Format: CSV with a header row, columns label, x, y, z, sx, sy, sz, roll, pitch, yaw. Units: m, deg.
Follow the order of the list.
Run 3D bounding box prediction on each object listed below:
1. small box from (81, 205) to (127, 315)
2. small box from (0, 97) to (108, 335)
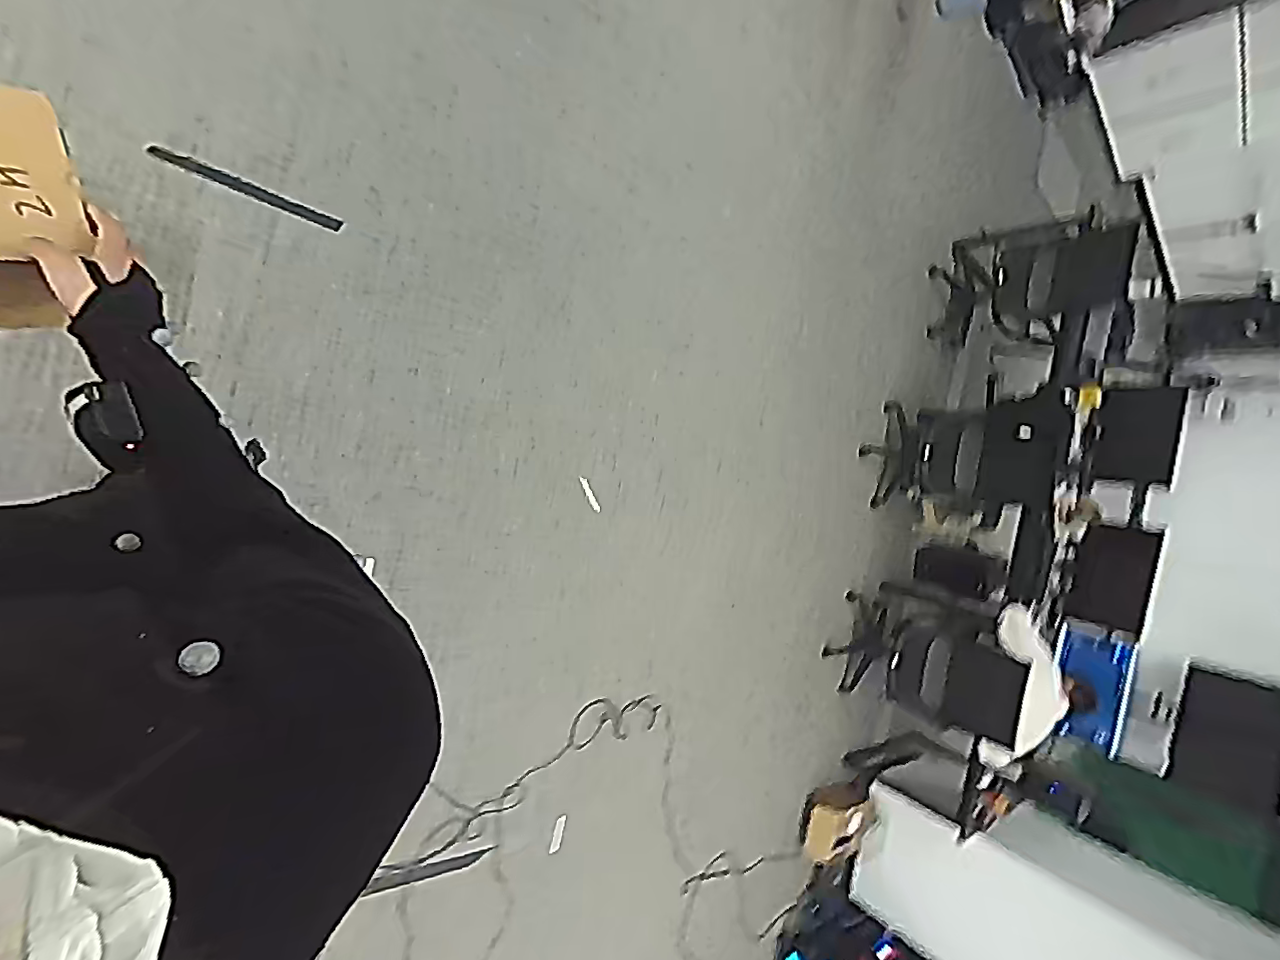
label,x,y,z,sx,sy,sz,roll,pitch,yaw
small box,-1.108,-0.431,1.030,0.168,0.176,0.179,10,91,-40
small box,-0.647,-0.242,0.512,0.179,0.176,0.168,-18,94,-43
